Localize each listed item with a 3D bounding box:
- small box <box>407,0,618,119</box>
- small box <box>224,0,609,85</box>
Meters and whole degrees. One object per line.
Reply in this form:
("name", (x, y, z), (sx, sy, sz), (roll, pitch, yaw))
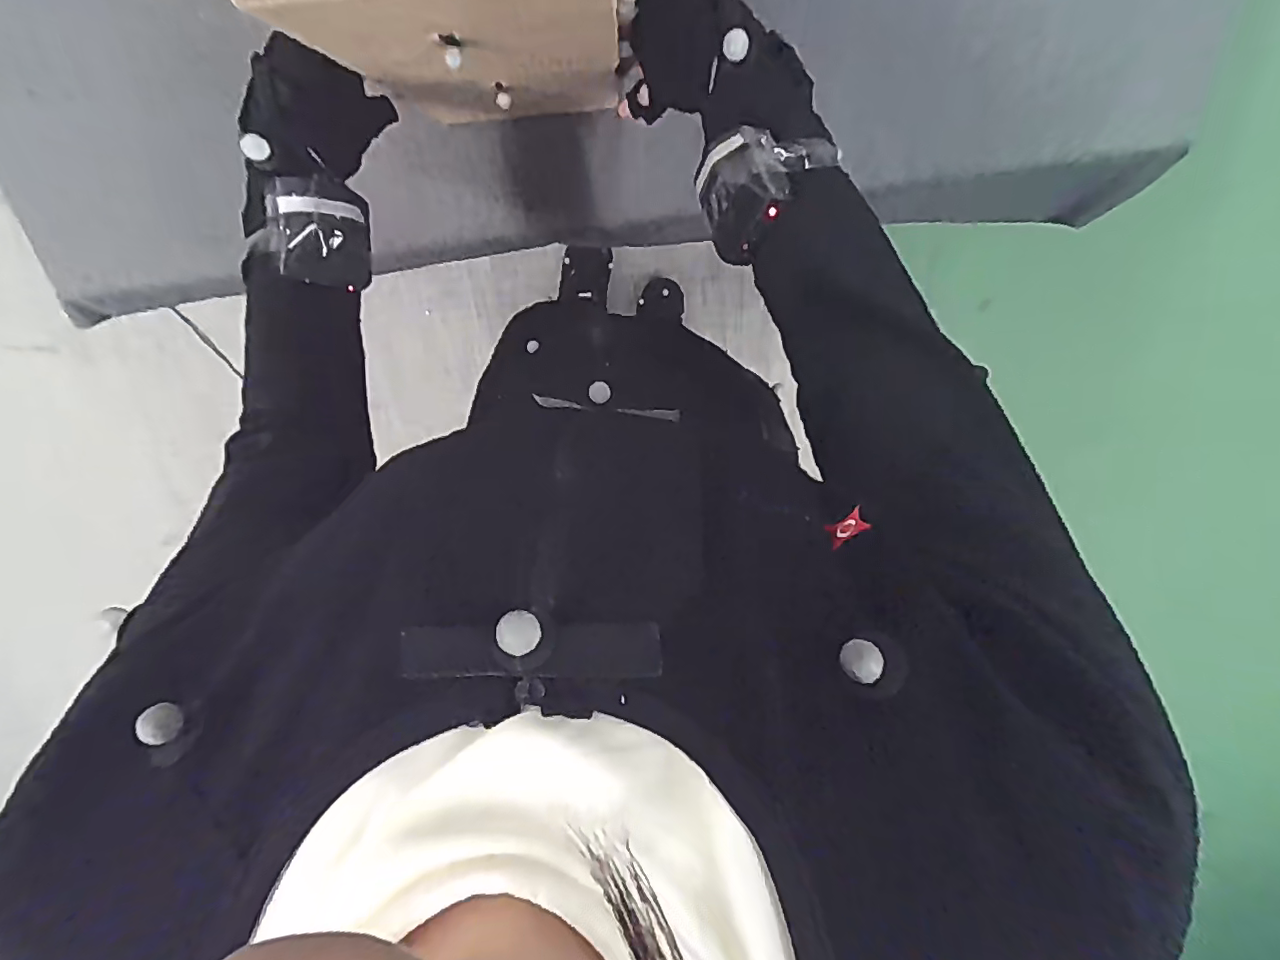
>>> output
("small box", (-0.113, -0.405, 0.431), (0.179, 0.176, 0.168), (-7, 116, 1))
("small box", (-0.111, -0.330, 0.283), (0.179, 0.176, 0.168), (-4, 115, 3))
